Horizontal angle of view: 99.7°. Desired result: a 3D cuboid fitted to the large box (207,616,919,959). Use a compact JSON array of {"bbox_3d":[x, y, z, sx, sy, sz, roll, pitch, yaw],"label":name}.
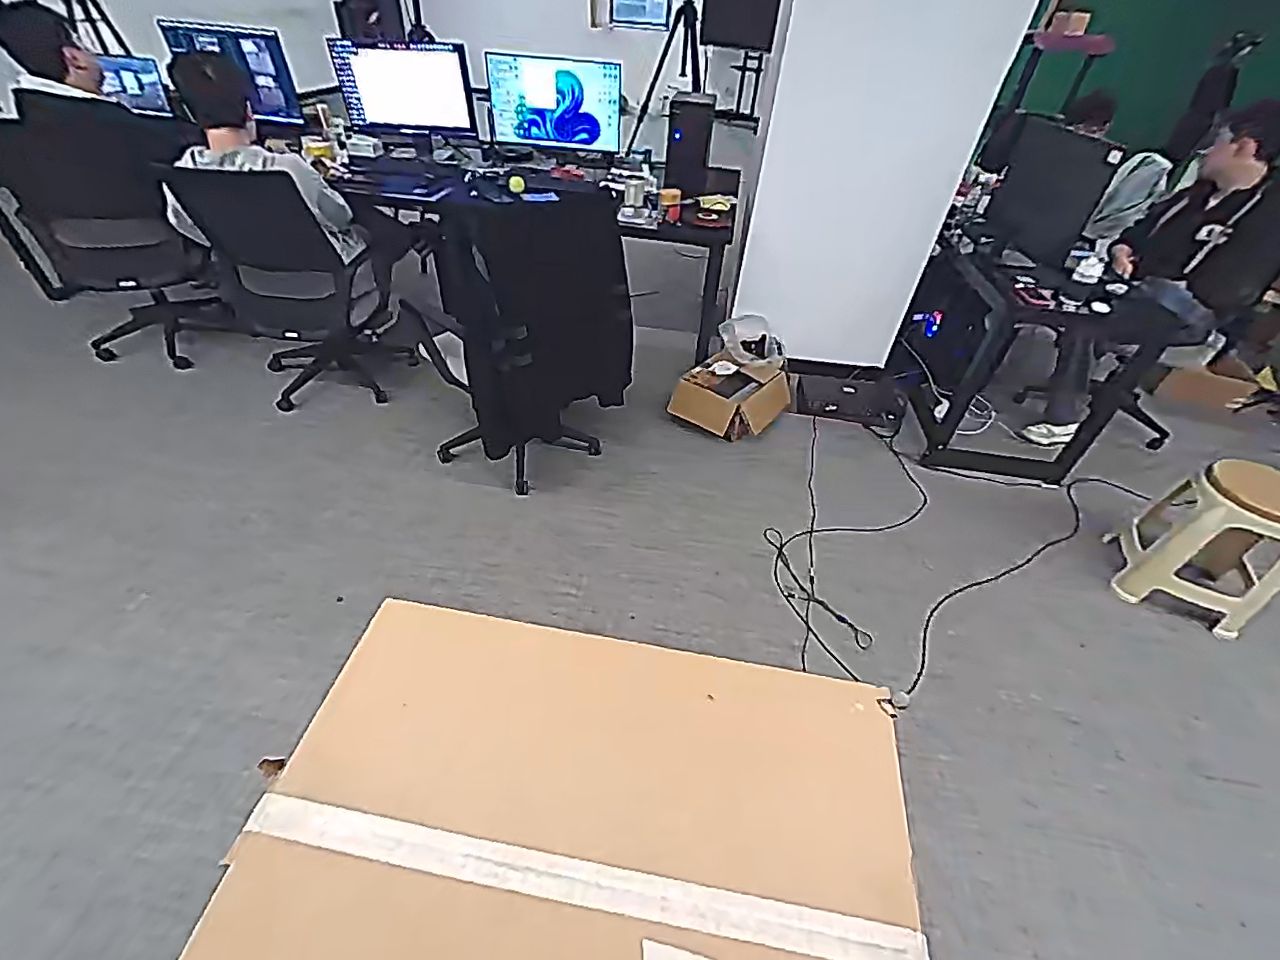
[{"bbox_3d":[-0.041,0.349,0.436,0.408,0.320,0.320,9,47,4],"label":"large box"}]
